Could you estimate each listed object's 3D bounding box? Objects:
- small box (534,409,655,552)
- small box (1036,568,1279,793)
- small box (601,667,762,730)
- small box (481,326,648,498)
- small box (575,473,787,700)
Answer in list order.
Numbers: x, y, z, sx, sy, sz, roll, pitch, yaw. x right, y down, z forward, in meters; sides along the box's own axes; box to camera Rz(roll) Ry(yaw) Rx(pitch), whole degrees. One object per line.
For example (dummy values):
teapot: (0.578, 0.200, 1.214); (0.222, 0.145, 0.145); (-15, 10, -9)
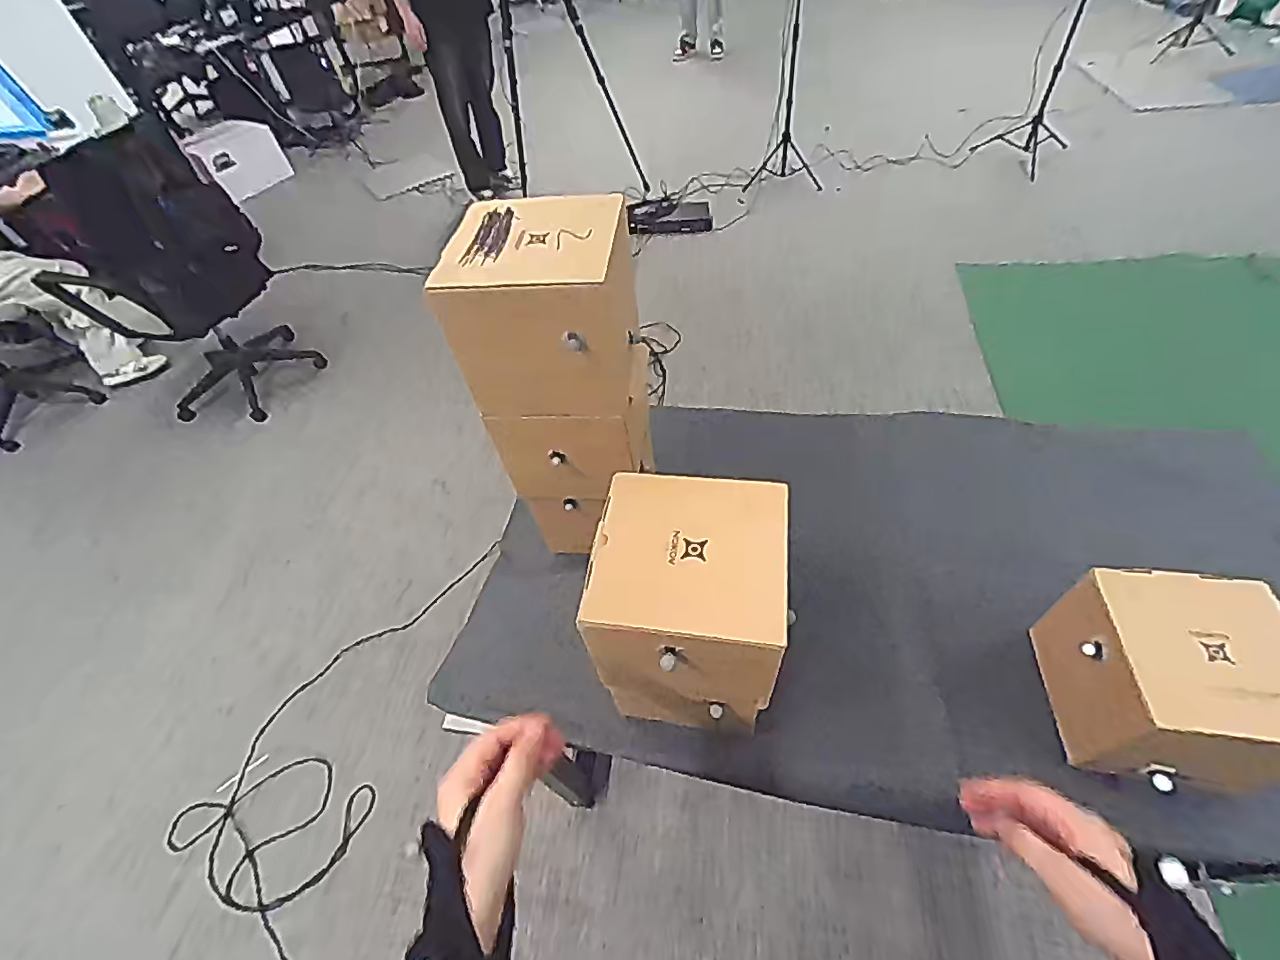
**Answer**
small box: (-0.066, 0.001, 0.872); (0.168, 0.176, 0.179); (0, 52, 8)
small box: (0.579, 0.220, 0.596); (0.168, 0.176, 0.179); (3, 51, 11)
small box: (0.065, 0.203, 0.687); (0.179, 0.176, 0.168); (5, 52, 12)
small box: (-0.086, -0.088, 0.734); (0.179, 0.176, 0.168); (0, 53, 9)
small box: (0.052, 0.112, 0.552); (0.179, 0.176, 0.168); (3, 52, 12)
